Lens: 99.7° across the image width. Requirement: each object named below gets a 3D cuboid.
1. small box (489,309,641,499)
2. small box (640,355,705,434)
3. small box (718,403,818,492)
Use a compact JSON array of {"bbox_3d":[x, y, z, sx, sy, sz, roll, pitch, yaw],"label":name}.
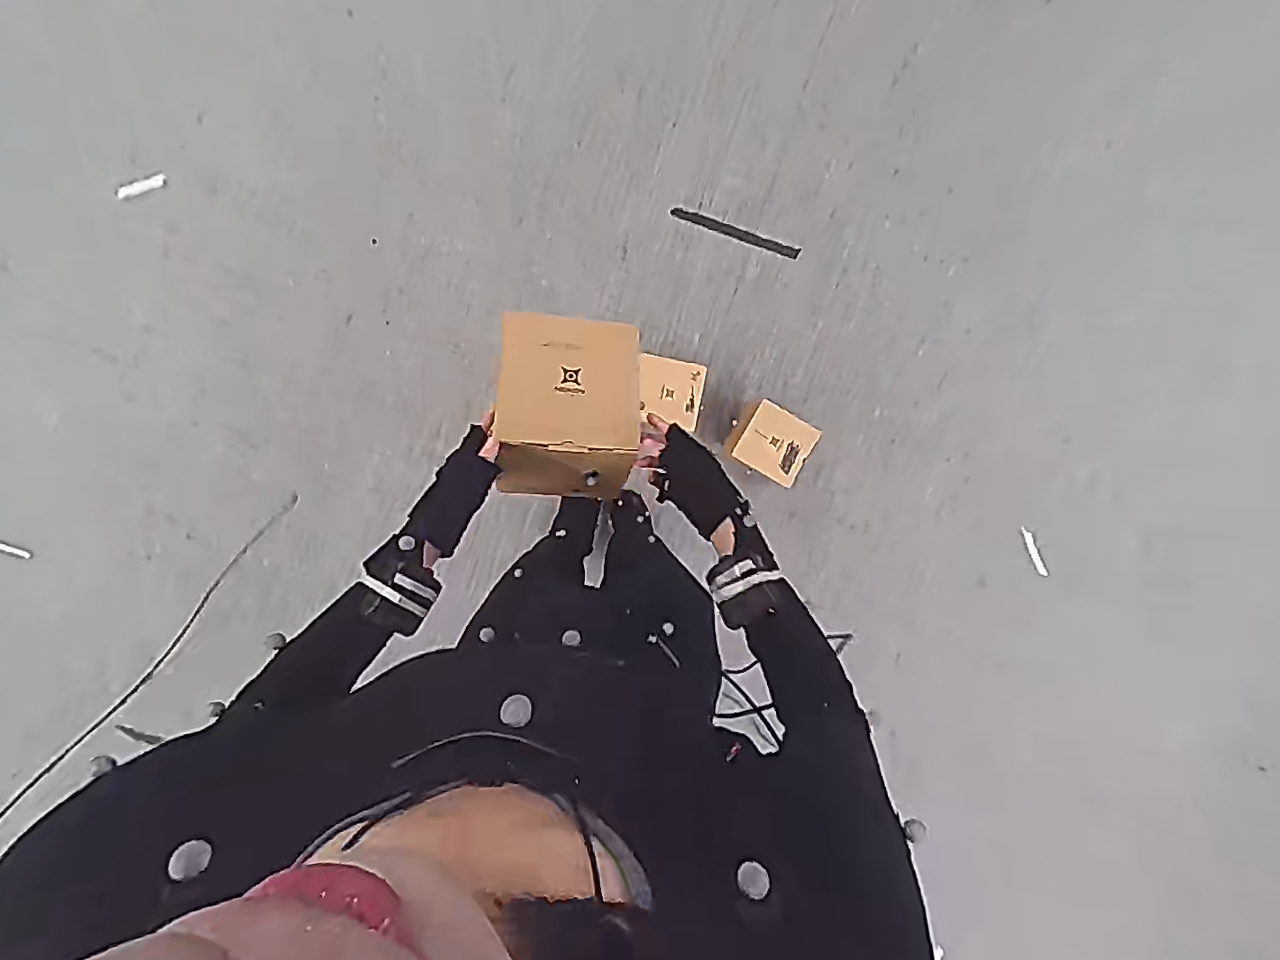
[{"bbox_3d":[-0.094,-0.084,0.683,0.168,0.176,0.179,4,67,-12],"label":"small box"},{"bbox_3d":[0.055,-0.214,1.401,0.179,0.176,0.168,12,94,-3],"label":"small box"},{"bbox_3d":[0.330,-0.088,1.426,0.179,0.176,0.168,30,92,-5],"label":"small box"}]
